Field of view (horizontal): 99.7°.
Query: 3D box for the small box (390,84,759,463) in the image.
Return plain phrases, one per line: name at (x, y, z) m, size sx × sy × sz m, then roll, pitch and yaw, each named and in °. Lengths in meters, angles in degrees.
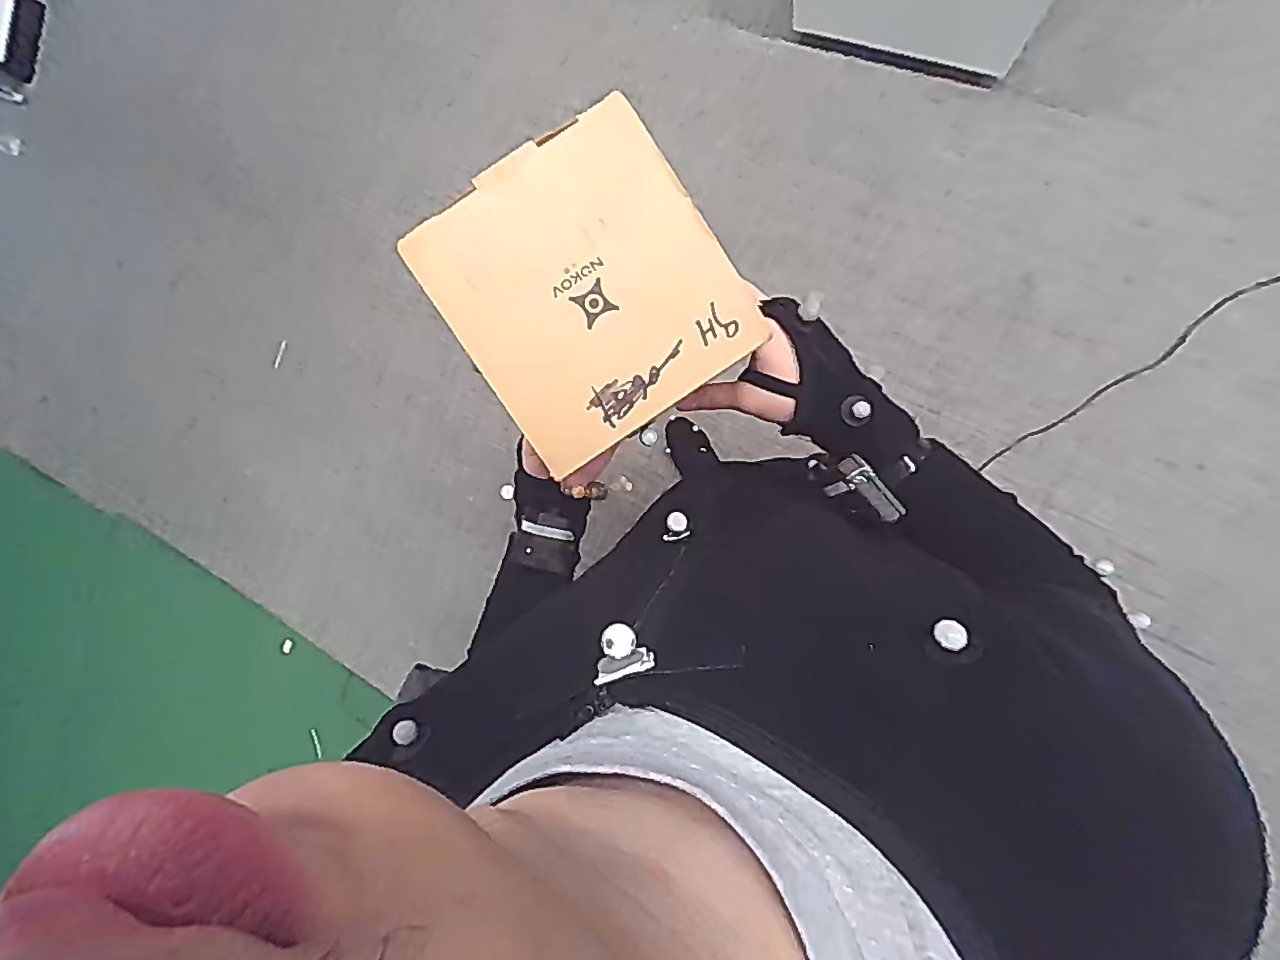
small box at (-0.042, -0.129, 0.409) m, size 0.168 × 0.176 × 0.179 m, roll -33°, pitch 95°, yaw 2°
